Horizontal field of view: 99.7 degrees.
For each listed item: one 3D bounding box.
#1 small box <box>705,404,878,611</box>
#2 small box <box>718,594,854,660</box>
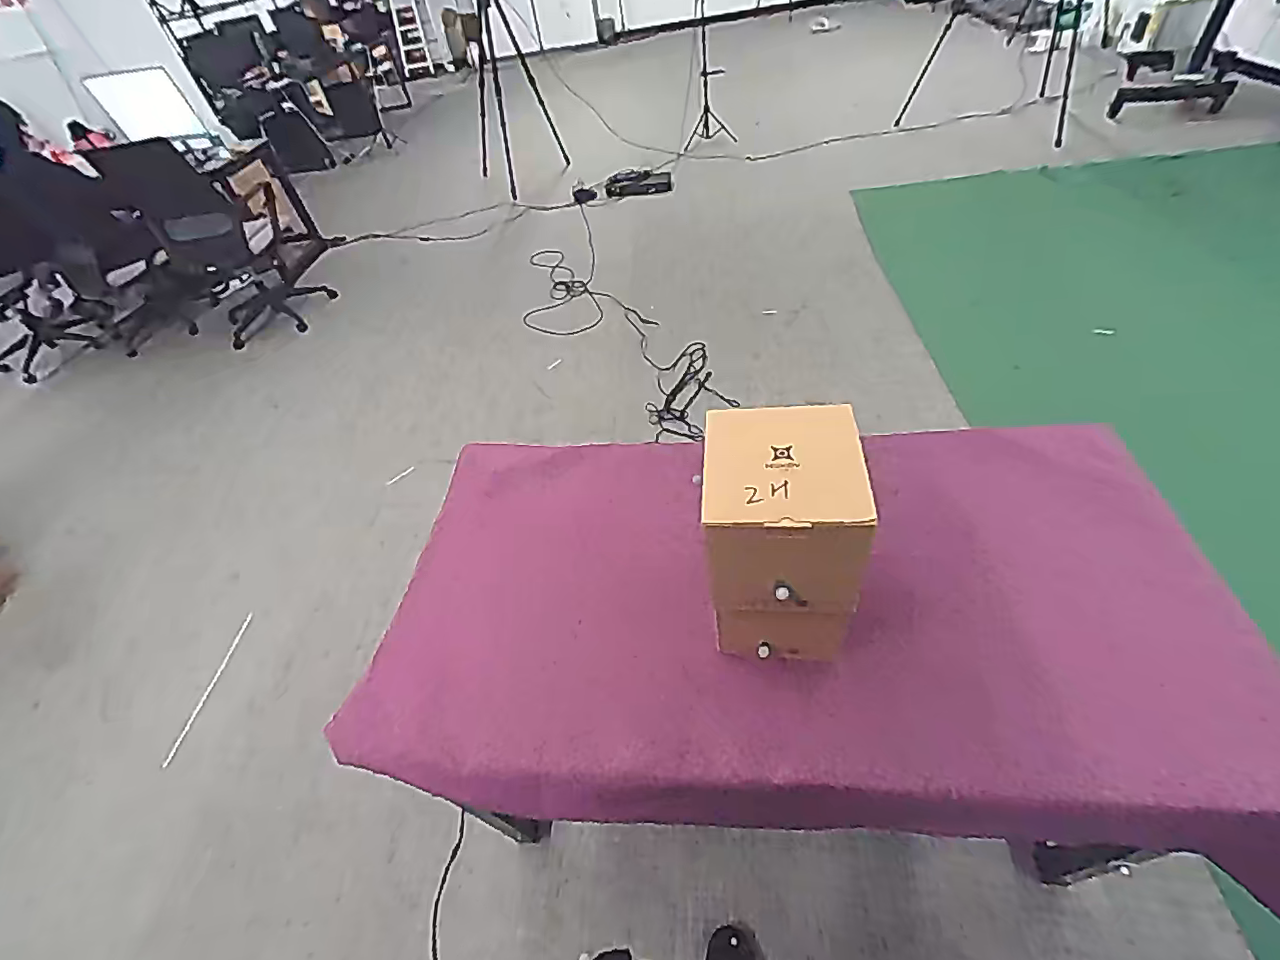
[{"bbox_3d":[0.167,0.032,0.635,0.168,0.176,0.179,-1,47,12],"label":"small box"},{"bbox_3d":[0.197,0.130,0.762,0.168,0.176,0.179,0,48,12],"label":"small box"}]
